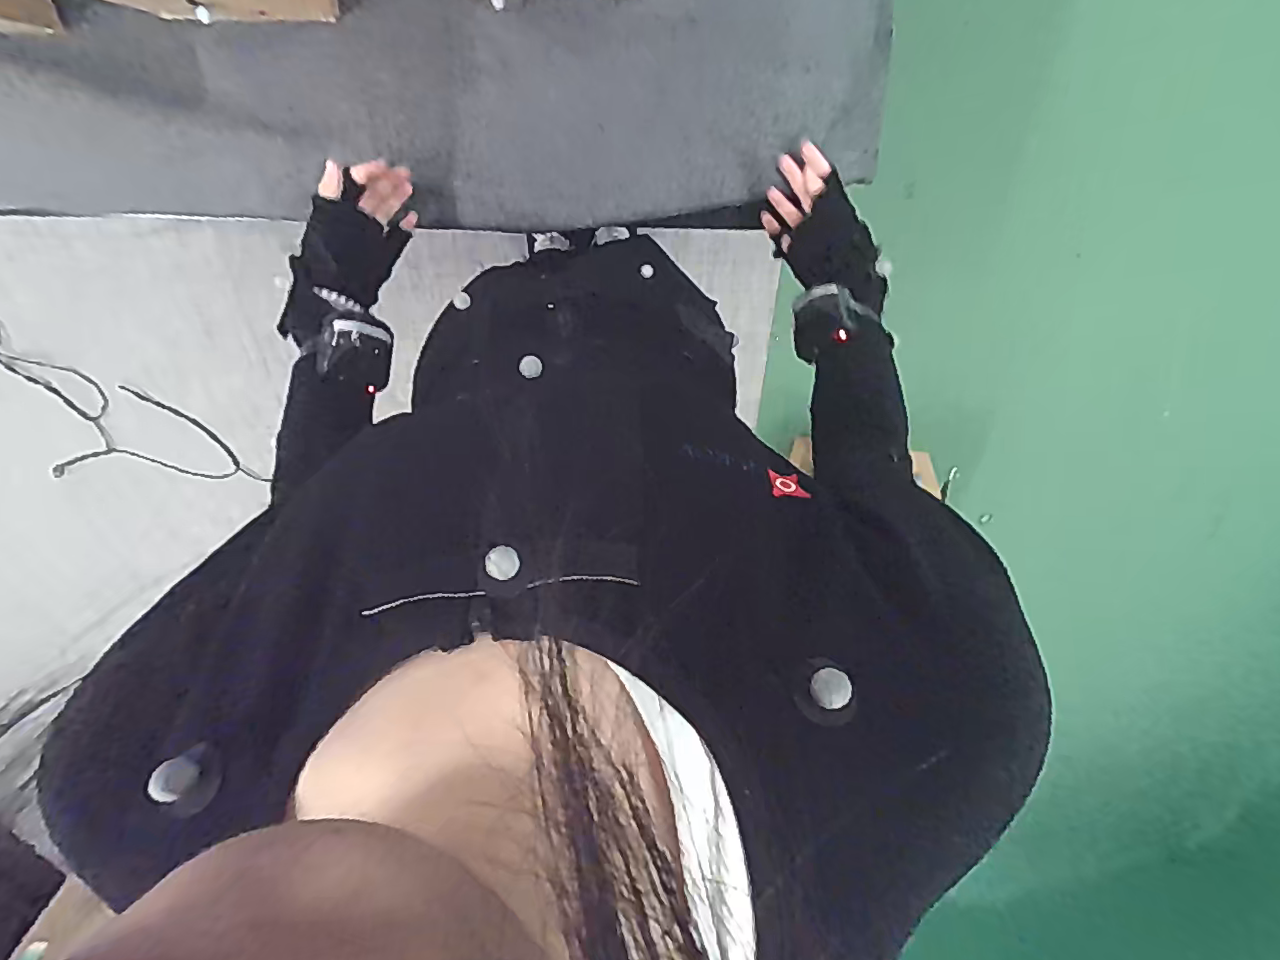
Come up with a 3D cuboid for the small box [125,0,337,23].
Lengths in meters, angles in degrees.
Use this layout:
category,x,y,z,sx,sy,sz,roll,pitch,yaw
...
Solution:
category,x,y,z,sx,sy,sz,roll,pitch,yaw
small box,-0.354,-0.460,0.390,0.168,0.176,0.179,-2,123,-3
